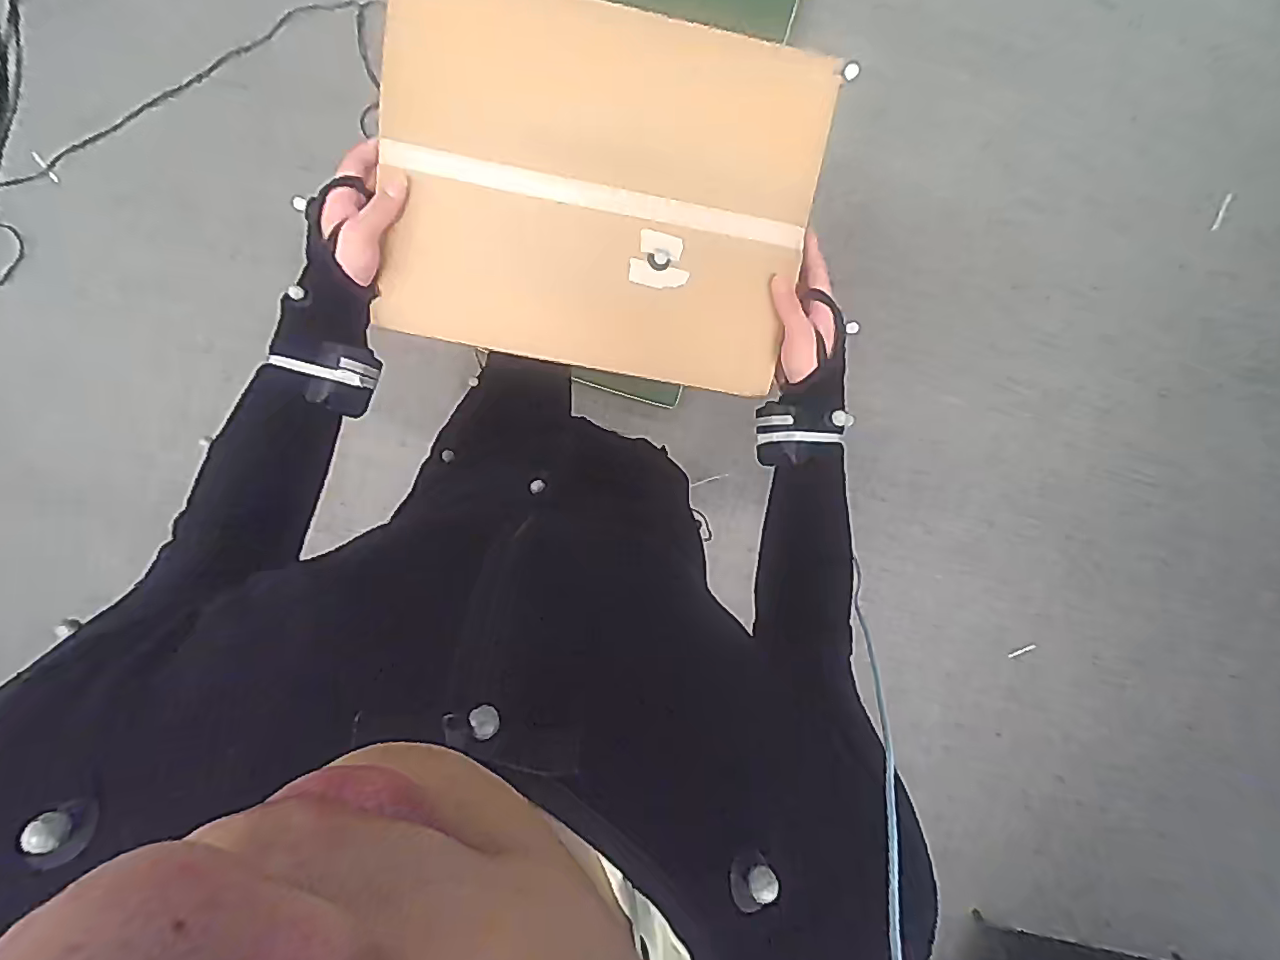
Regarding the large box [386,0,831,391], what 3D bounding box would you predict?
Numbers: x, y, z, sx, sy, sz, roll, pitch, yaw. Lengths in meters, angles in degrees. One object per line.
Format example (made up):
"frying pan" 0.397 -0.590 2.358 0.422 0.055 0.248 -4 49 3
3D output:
"large box" -0.047 -0.302 0.671 0.408 0.320 0.320 9 103 -6
